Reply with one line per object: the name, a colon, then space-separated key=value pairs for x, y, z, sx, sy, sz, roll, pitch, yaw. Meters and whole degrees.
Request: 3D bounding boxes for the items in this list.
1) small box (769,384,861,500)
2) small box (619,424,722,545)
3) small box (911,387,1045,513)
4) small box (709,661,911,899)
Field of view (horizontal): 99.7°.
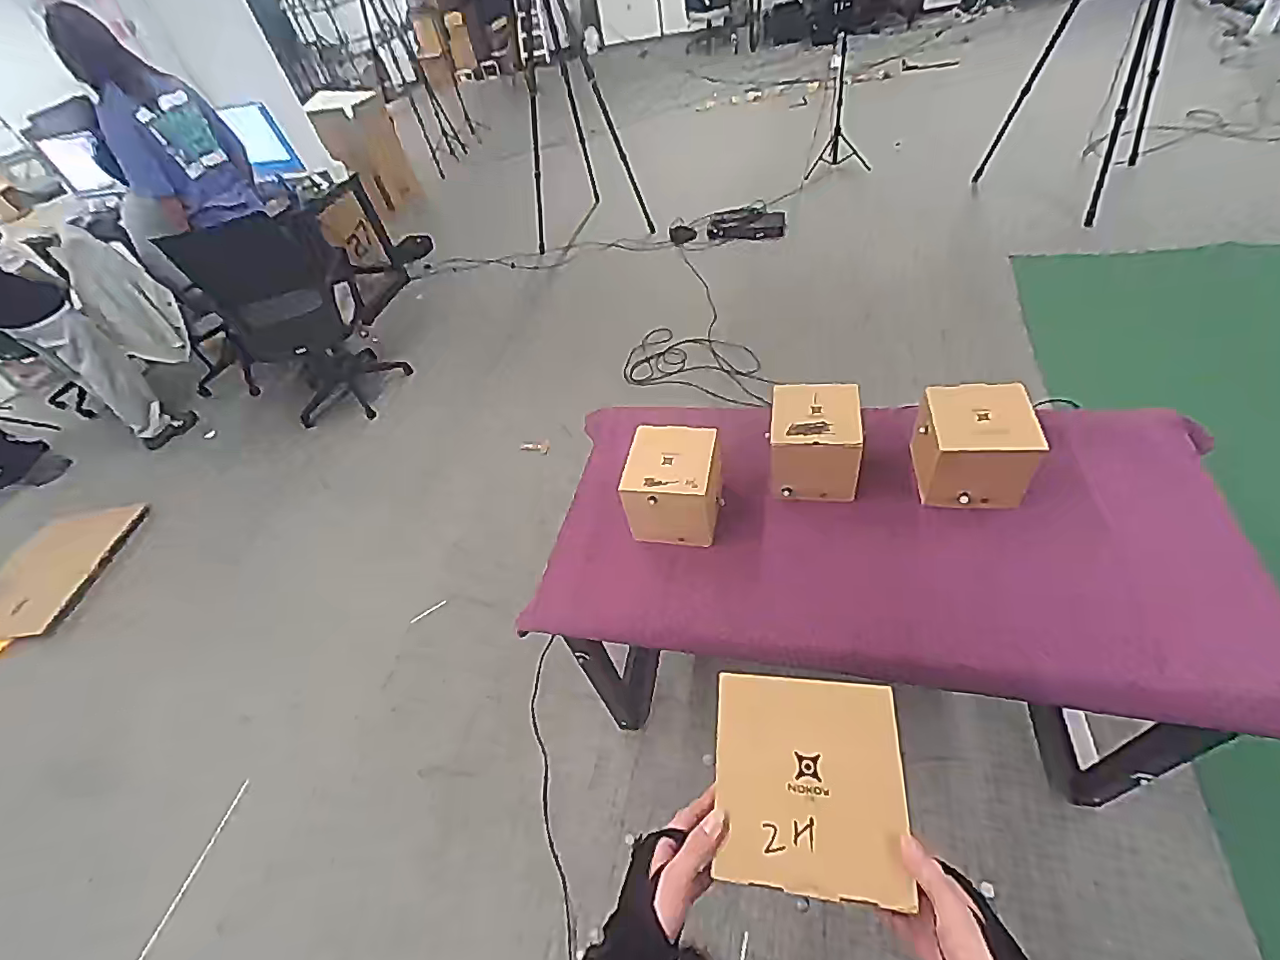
small box: x=0.355 y=-0.076 z=1.108 sx=0.168 sy=0.176 sz=0.179 roll=3 pitch=49 yaw=15
small box: x=0.071 y=0.007 z=1.094 sx=0.168 sy=0.176 sz=0.179 roll=3 pitch=49 yaw=17
small box: x=0.628 y=-0.059 z=1.032 sx=0.168 sy=0.176 sz=0.179 roll=2 pitch=50 yaw=15
small box: x=0.163 y=0.307 z=0.561 sx=0.168 sy=0.176 sz=0.179 roll=1 pitch=56 yaw=12
